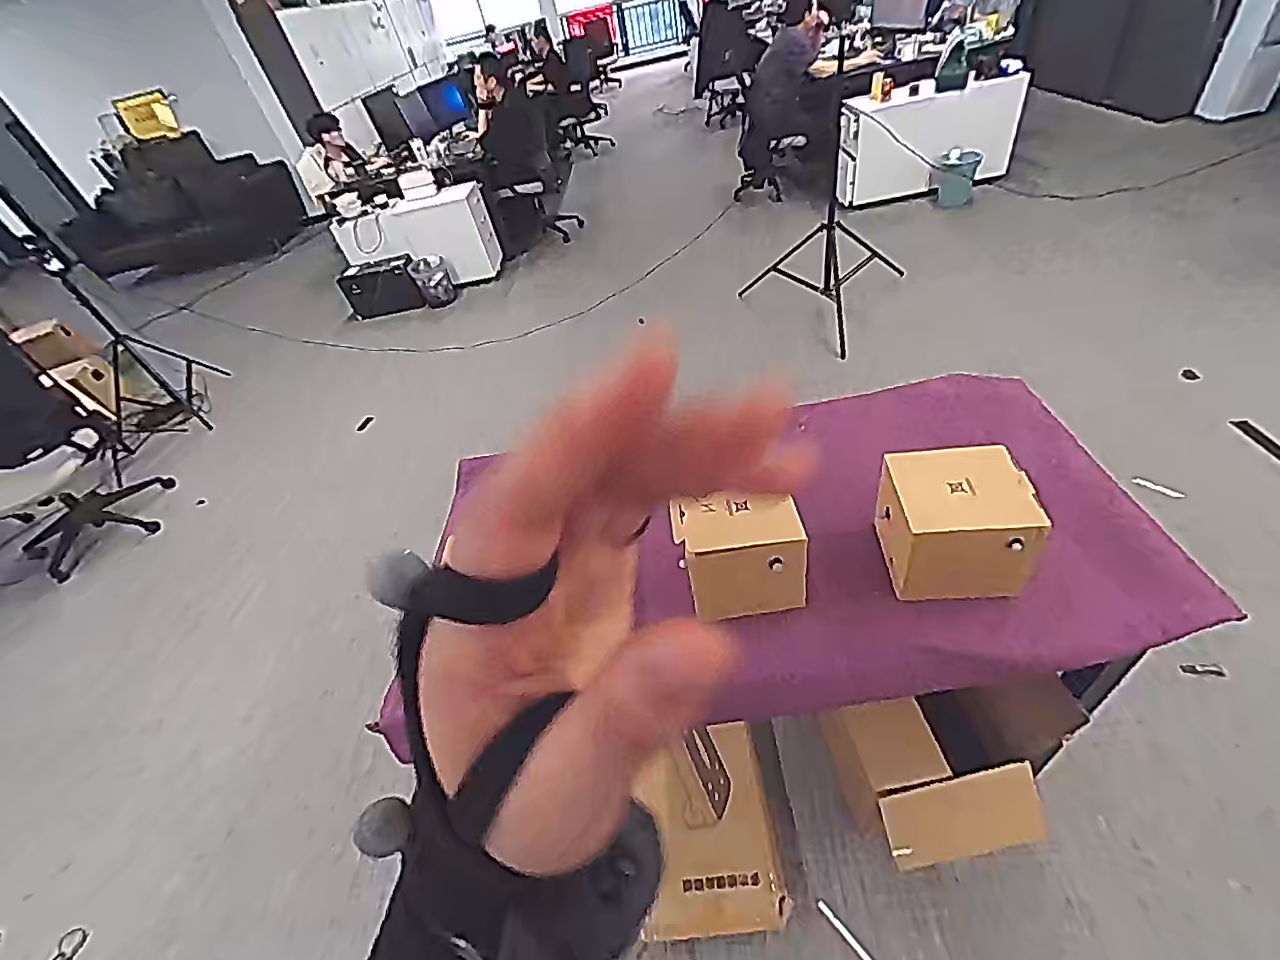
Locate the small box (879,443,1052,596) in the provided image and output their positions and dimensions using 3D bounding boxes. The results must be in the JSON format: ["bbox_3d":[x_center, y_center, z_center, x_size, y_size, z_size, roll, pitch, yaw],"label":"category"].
[{"bbox_3d":[0.477,0.065,0.832,0.179,0.176,0.168,-5,44,10],"label":"small box"}]

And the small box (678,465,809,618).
[{"bbox_3d":[0.164,0.102,0.877,0.179,0.176,0.168,-10,41,5],"label":"small box"}]
